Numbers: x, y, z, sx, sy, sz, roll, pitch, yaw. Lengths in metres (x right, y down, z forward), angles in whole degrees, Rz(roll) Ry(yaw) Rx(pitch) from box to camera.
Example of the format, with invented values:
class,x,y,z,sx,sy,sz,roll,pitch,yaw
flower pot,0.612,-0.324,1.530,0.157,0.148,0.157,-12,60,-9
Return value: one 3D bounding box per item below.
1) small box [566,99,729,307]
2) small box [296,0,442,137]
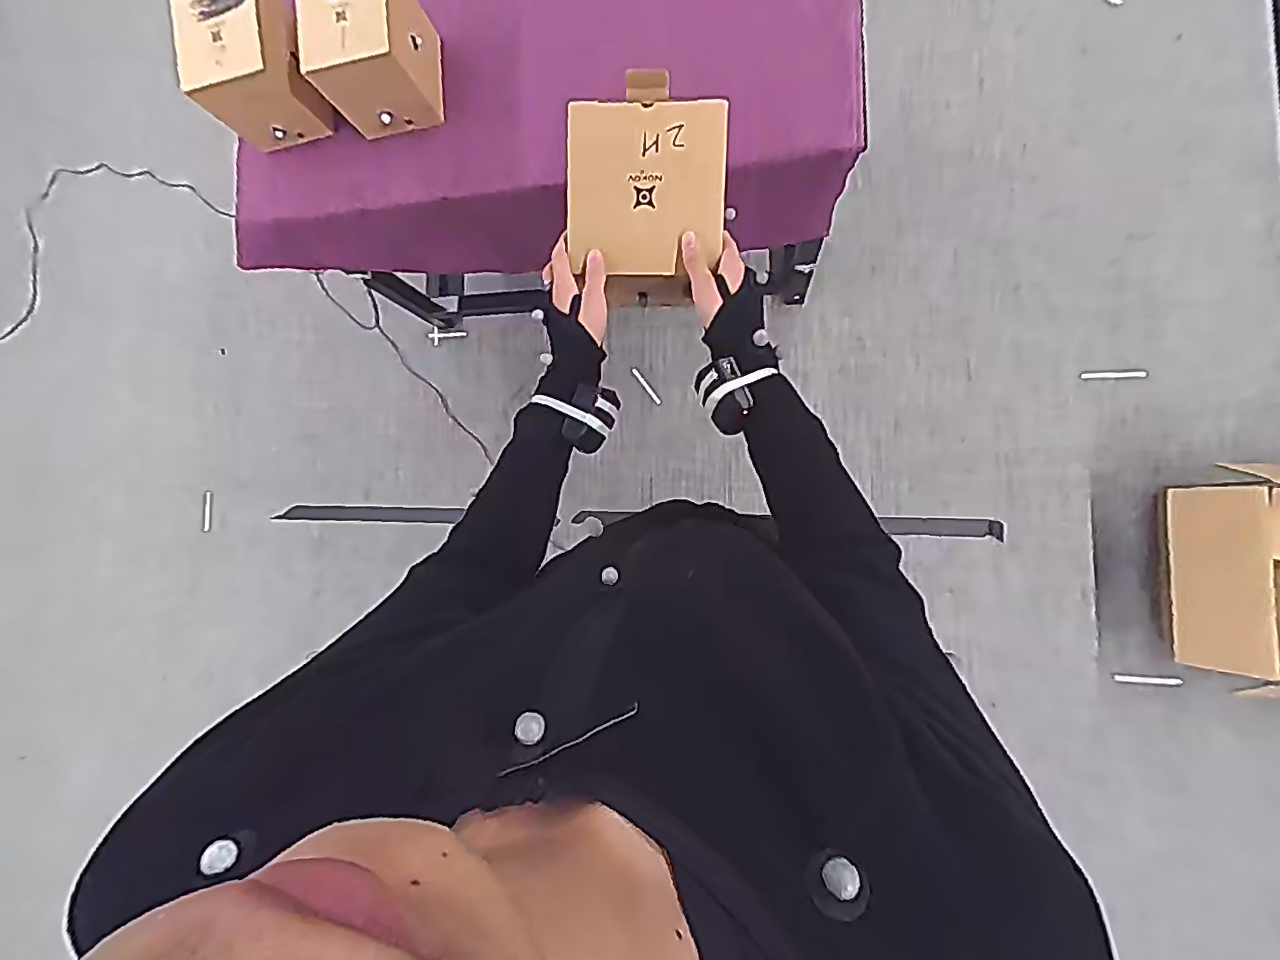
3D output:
class,x,y,z,sx,sy,sz,roll,pitch,yaw
small box,0.011,-0.305,0.633,0.168,0.176,0.179,2,96,3
small box,-0.467,-0.752,0.951,0.168,0.176,0.179,-5,87,10
